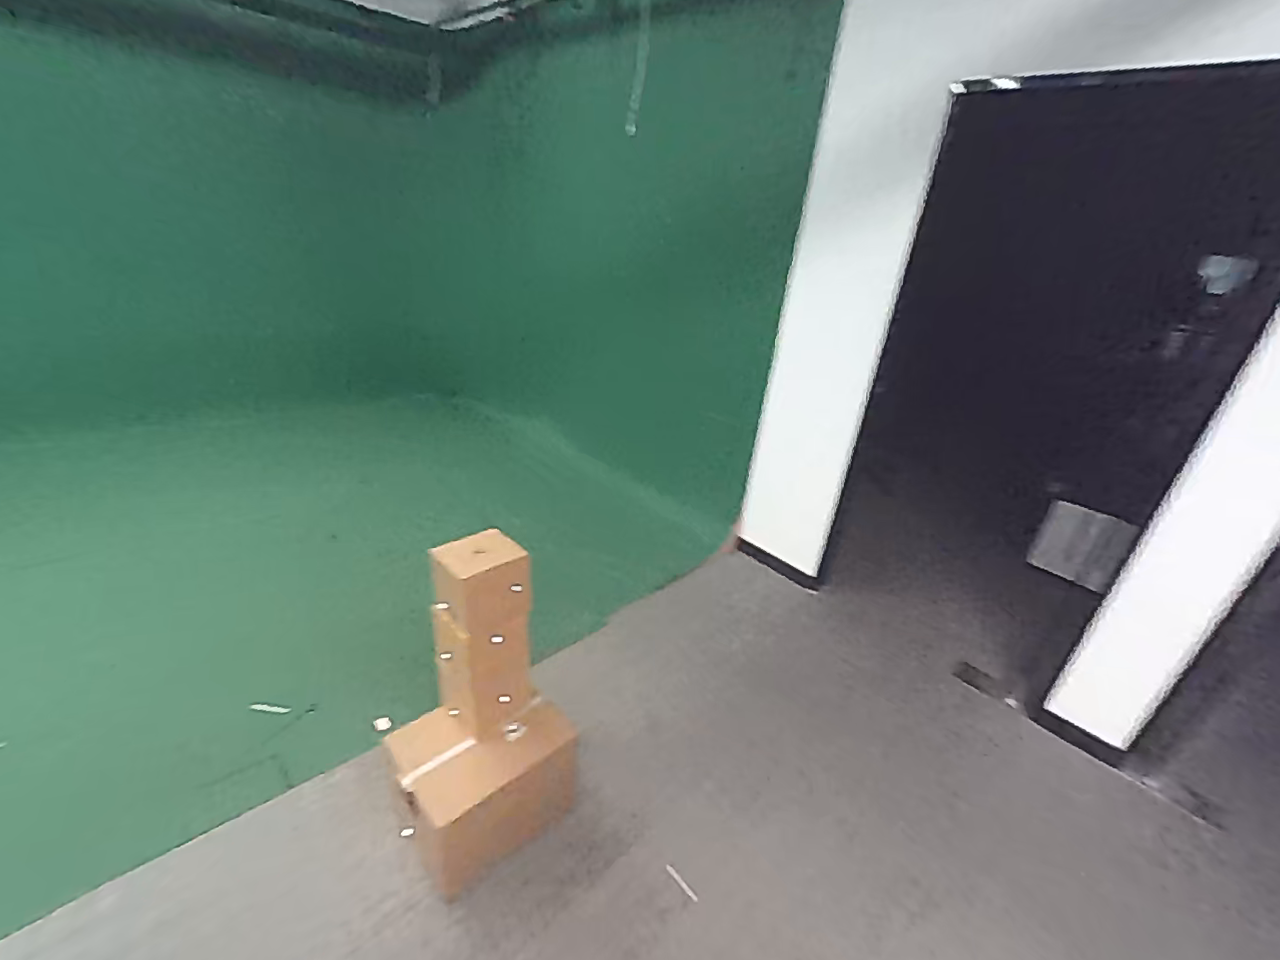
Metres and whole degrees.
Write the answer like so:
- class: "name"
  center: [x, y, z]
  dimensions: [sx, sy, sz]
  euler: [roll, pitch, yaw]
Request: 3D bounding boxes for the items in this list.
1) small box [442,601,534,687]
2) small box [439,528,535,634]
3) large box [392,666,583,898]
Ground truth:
- class: "small box"
  center: [-0.392, 0.394, 1.404]
  dimensions: [0.179, 0.176, 0.168]
  euler: [-20, 33, -40]
- class: "small box"
  center: [-0.375, 0.246, 1.338]
  dimensions: [0.179, 0.176, 0.168]
  euler: [-19, 32, -38]
- class: "large box"
  center: [-0.410, 0.804, 1.491]
  dimensions: [0.408, 0.320, 0.320]
  euler: [-18, 34, -41]
